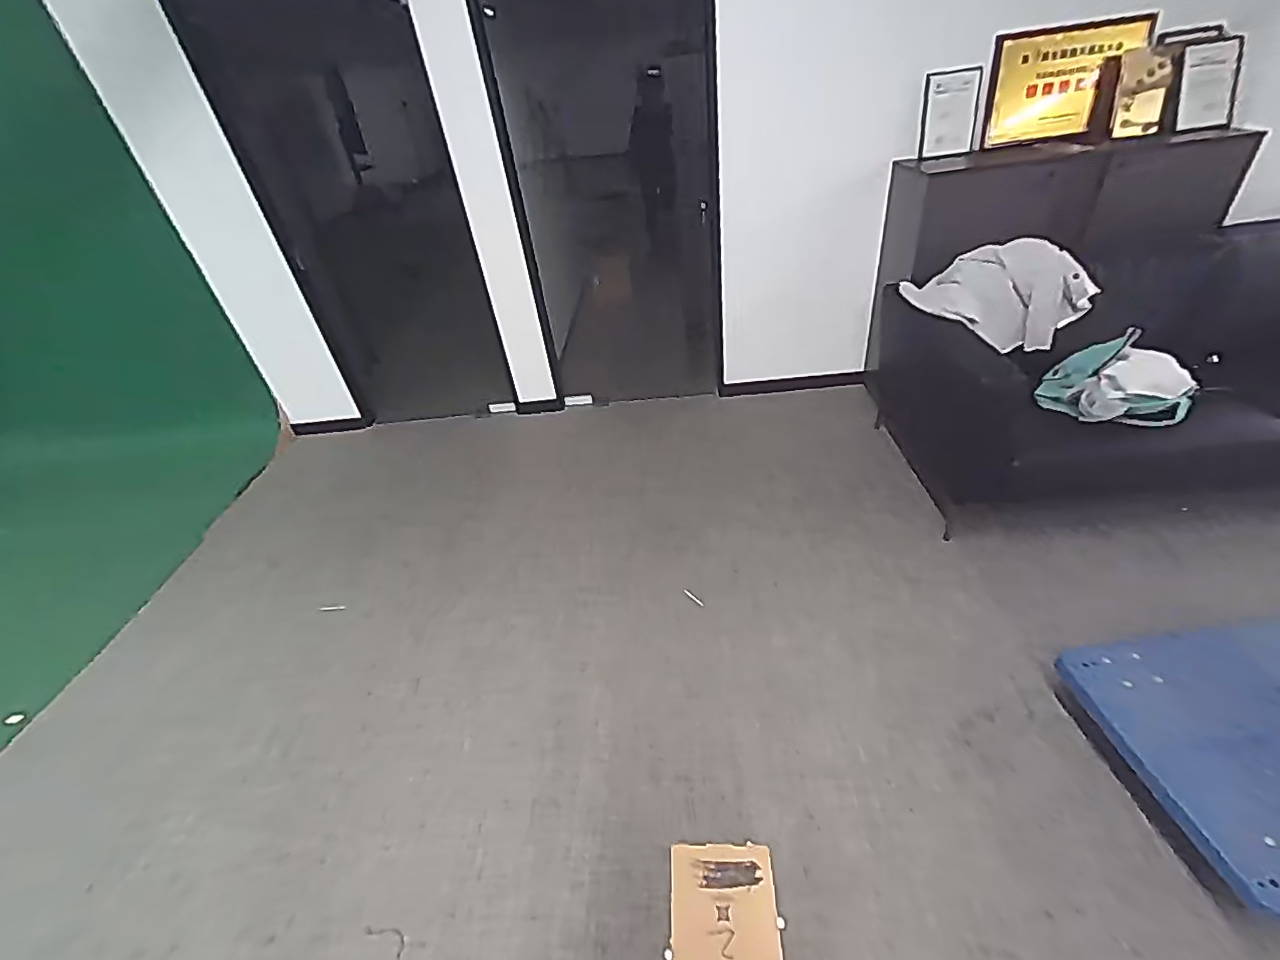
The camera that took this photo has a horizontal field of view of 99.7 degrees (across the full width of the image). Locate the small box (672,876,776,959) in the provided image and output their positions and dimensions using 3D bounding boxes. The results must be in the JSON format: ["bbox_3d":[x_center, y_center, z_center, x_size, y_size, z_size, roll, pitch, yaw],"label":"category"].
[{"bbox_3d":[0.153,0.854,0.991,0.179,0.176,0.168,-3,38,6],"label":"small box"}]
